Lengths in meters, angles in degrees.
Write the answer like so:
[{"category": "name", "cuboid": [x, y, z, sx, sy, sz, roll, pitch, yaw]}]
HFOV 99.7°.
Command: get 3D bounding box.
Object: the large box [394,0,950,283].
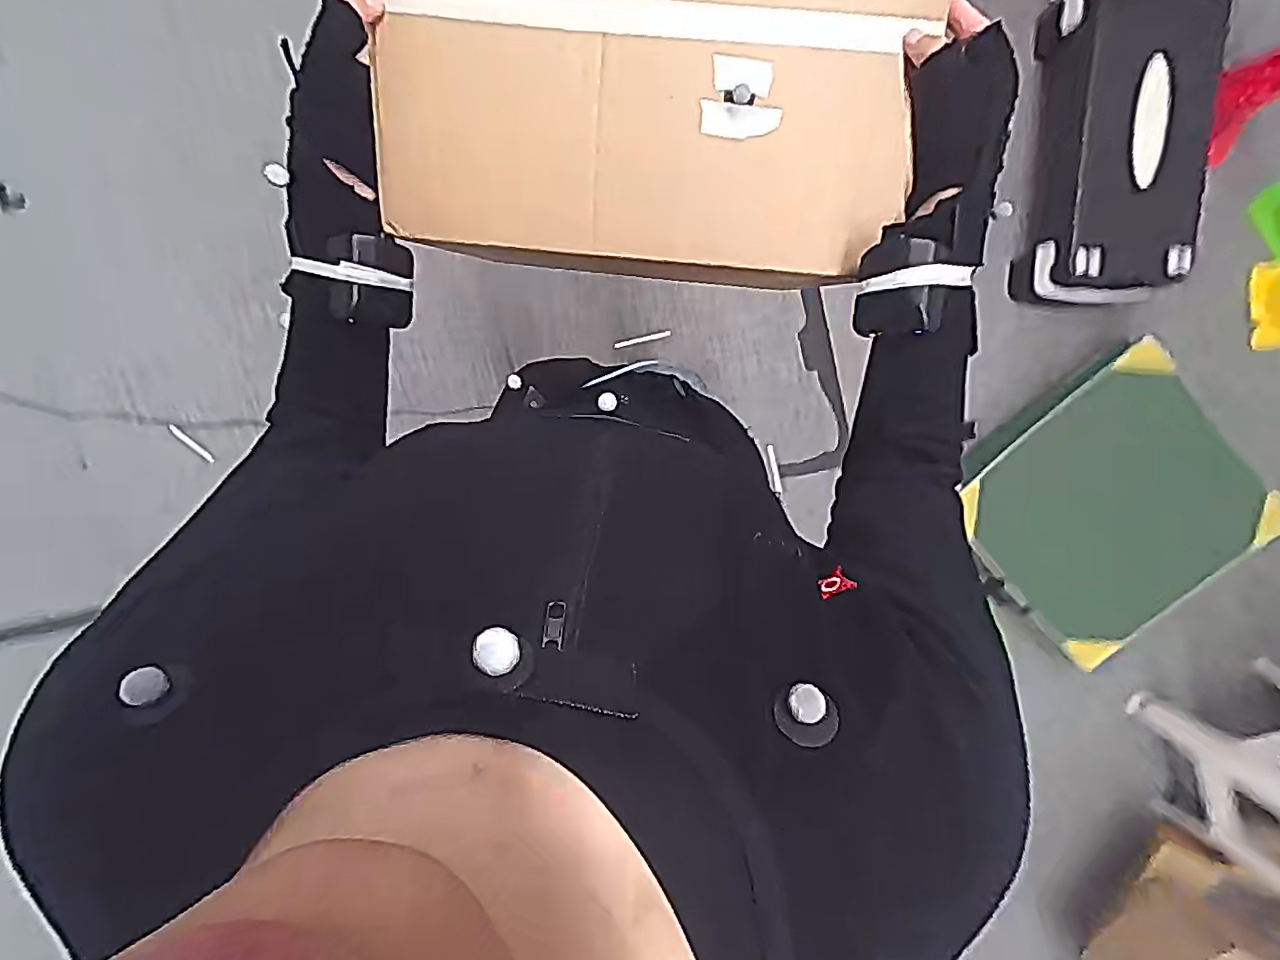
[{"category": "large box", "cuboid": [0.020, -0.377, 0.532, 0.408, 0.320, 0.320, 6, 109, -1]}]
